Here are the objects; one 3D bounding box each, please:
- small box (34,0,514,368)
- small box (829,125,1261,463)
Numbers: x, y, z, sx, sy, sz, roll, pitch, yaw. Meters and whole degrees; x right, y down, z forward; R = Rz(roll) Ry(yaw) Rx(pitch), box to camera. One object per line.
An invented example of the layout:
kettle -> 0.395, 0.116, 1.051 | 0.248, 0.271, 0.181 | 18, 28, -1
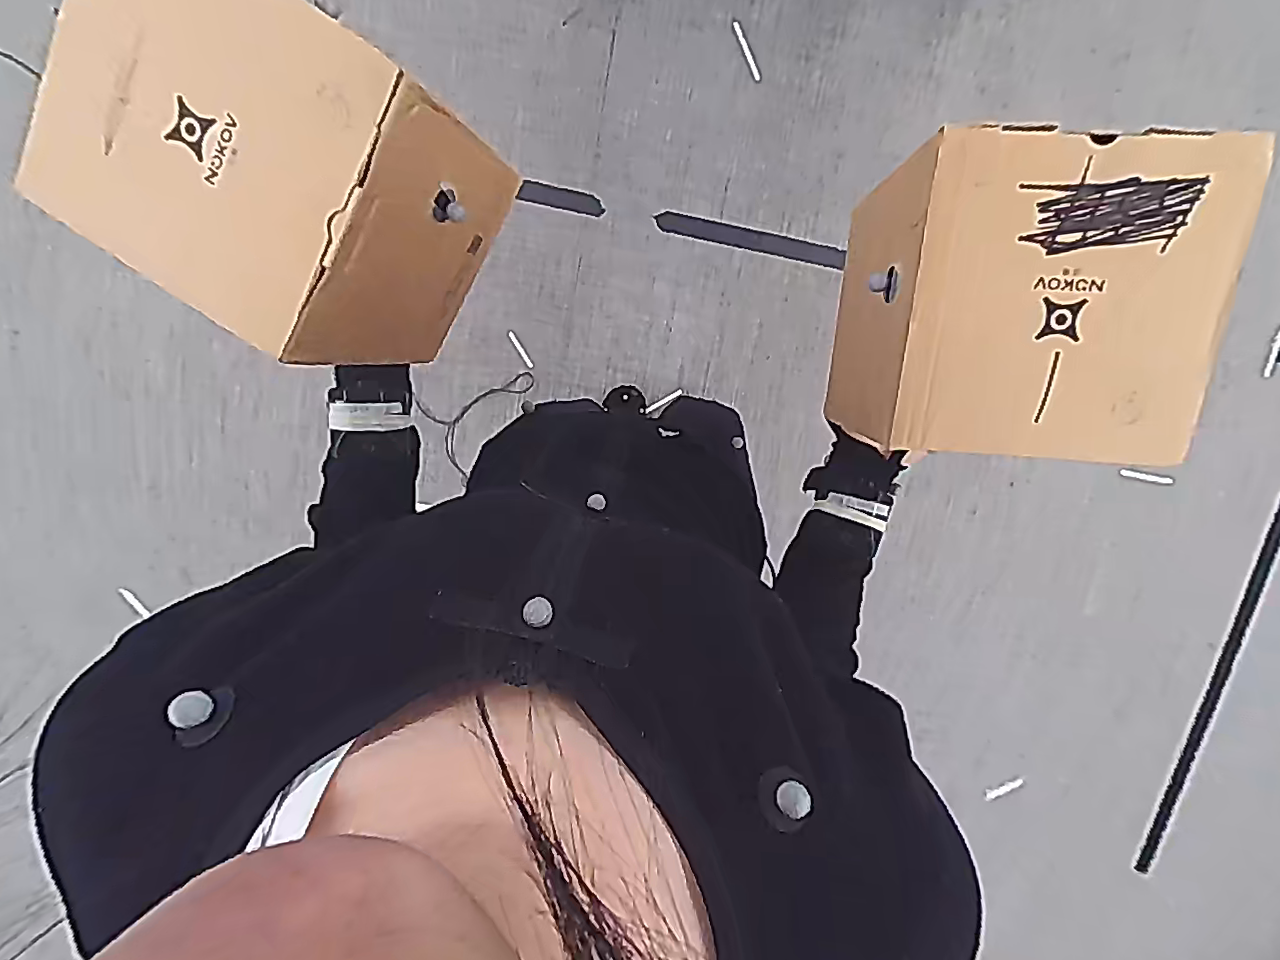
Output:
small box -> -0.212, -0.192, 0.358 | 0.179, 0.176, 0.168 | 32, 104, 0
small box -> 0.244, -0.117, 0.382 | 0.168, 0.176, 0.179 | 4, 103, 5
